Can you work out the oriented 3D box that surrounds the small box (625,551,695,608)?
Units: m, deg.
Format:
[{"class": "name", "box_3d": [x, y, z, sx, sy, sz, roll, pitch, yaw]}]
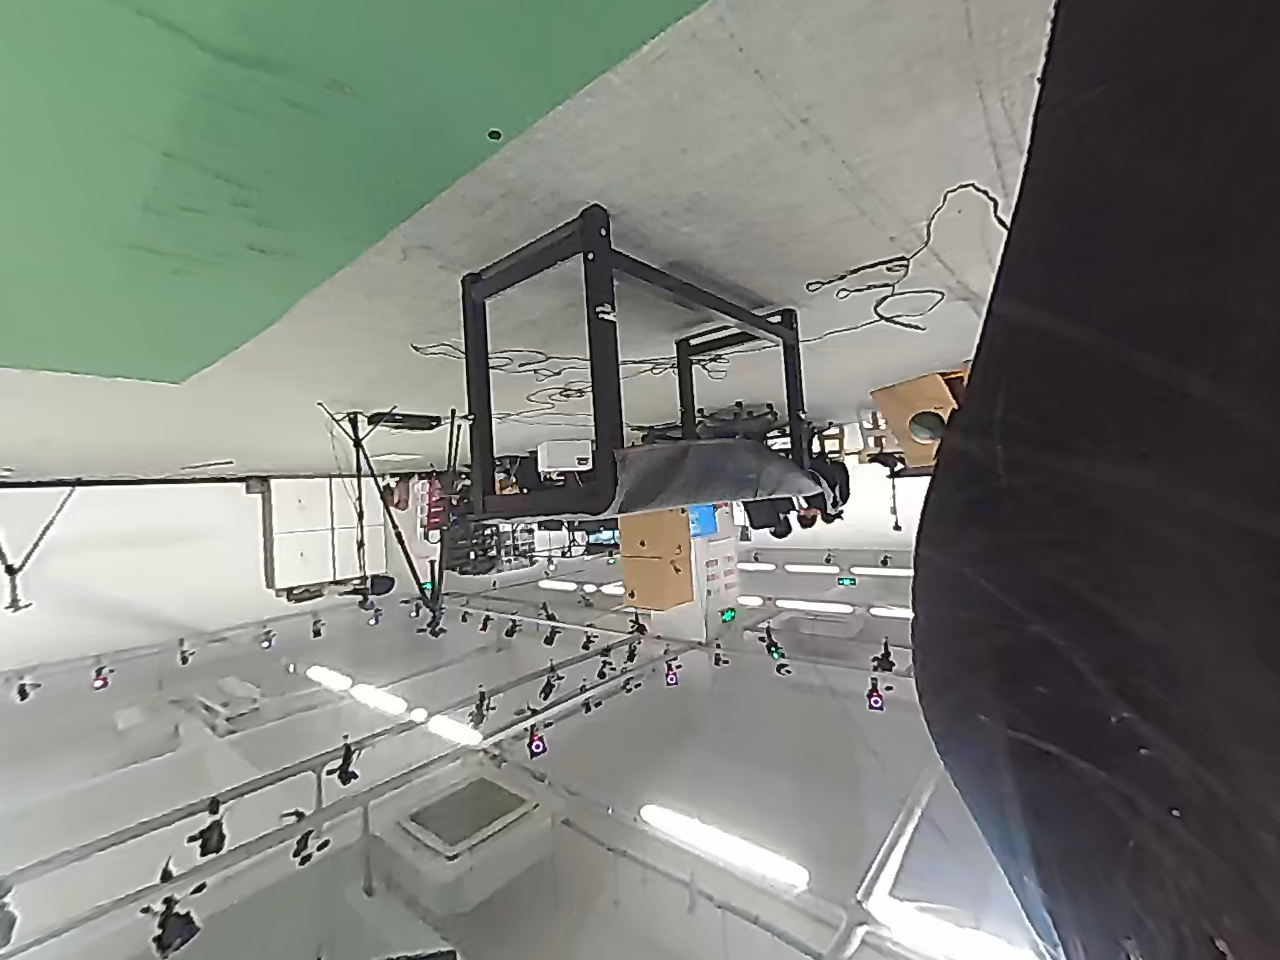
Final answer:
[{"class": "small box", "box_3d": [0.064, 0.319, 1.794, 0.179, 0.176, 0.168, -6, 178, 42]}]

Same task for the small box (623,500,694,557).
[{"class": "small box", "box_3d": [0.057, 0.154, 1.778, 0.179, 0.176, 0.168, -3, 179, 41]}]
